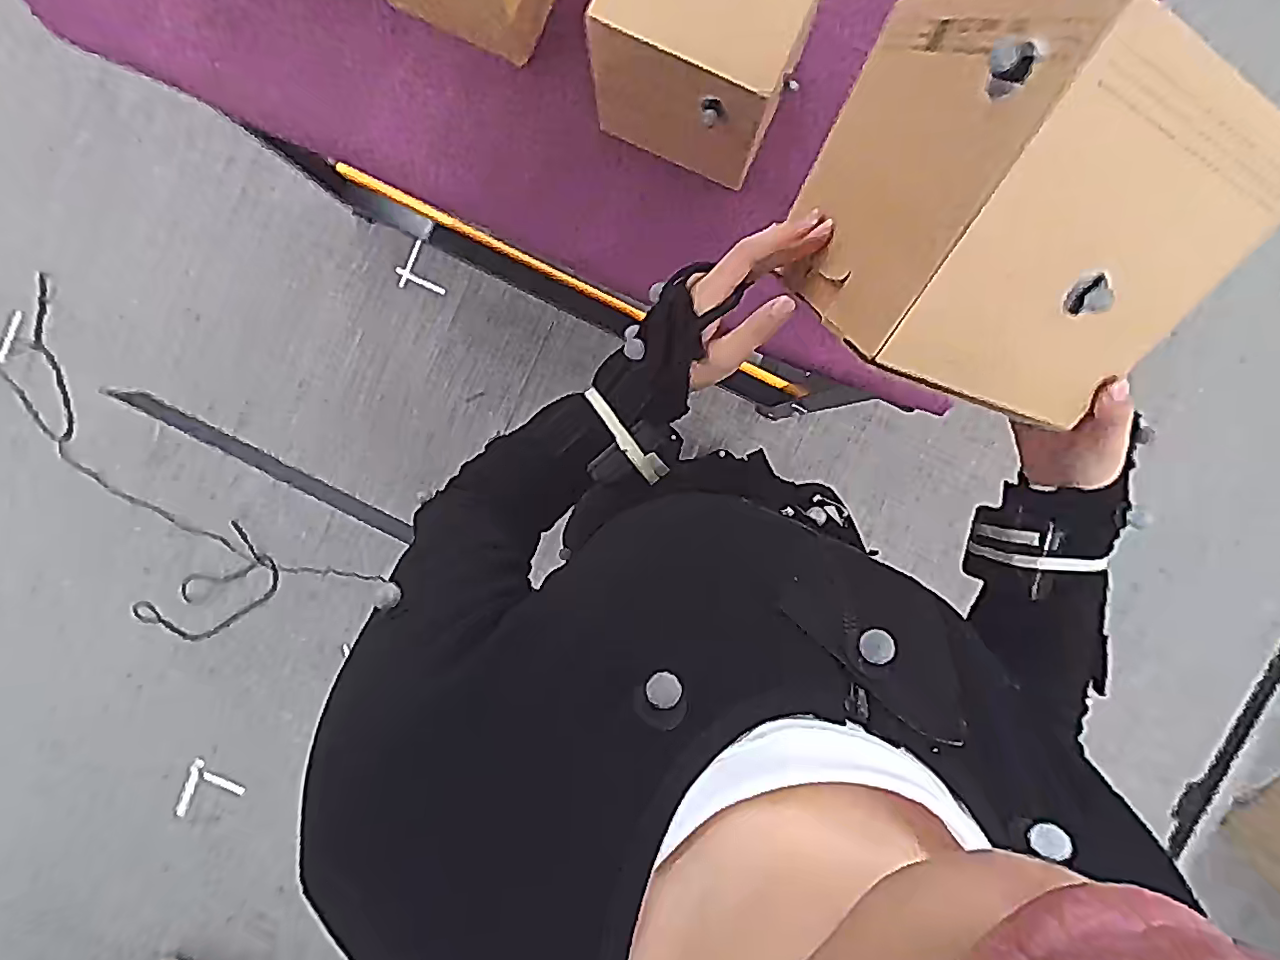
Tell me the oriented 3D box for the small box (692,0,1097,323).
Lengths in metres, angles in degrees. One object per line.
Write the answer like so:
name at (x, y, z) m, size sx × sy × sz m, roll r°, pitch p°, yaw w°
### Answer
small box at (0.149, -0.197, 0.351) m, size 0.179 × 0.168 × 0.176 m, roll -8°, pitch 106°, yaw -27°
